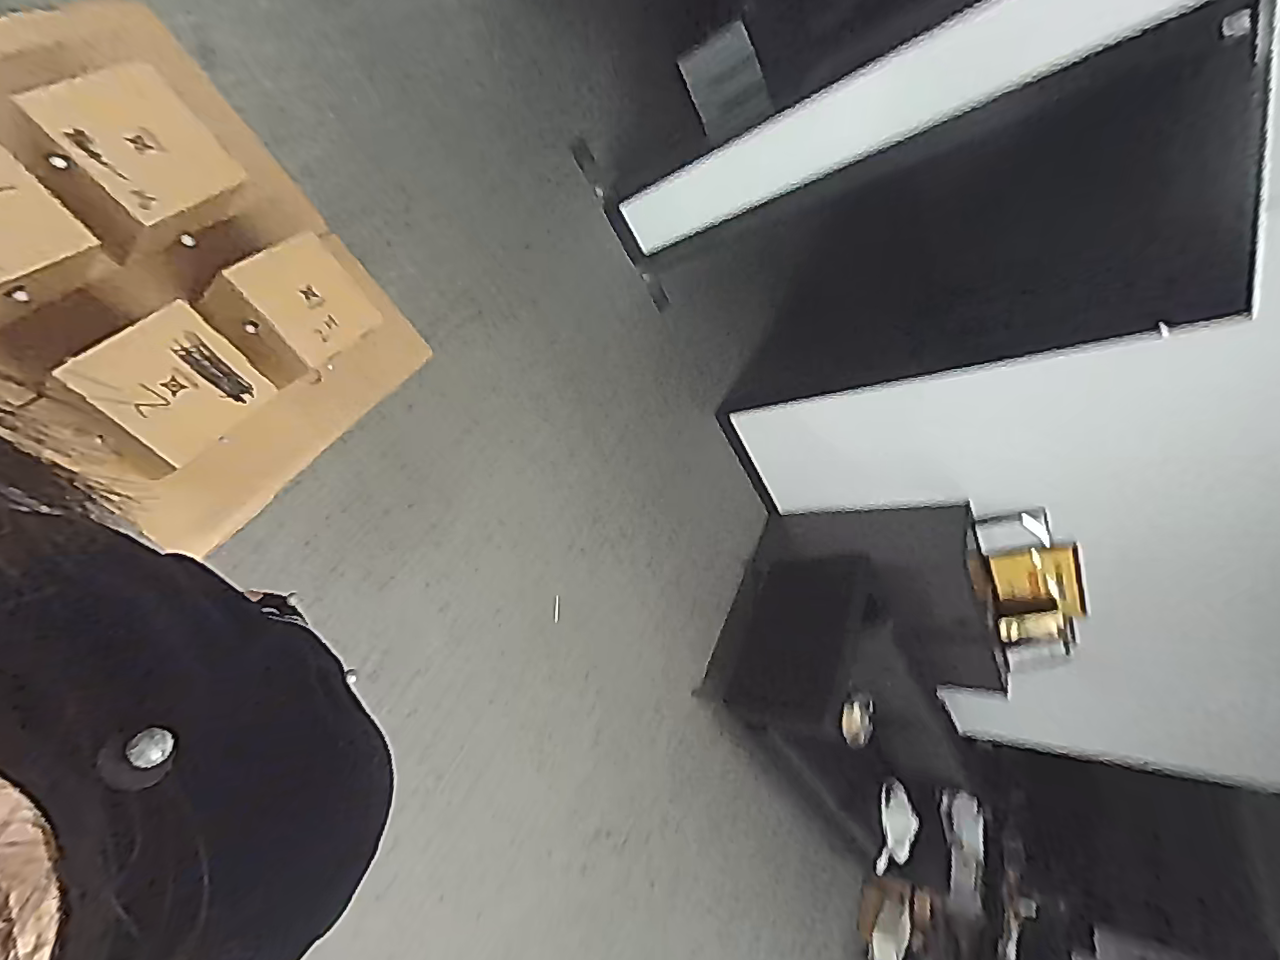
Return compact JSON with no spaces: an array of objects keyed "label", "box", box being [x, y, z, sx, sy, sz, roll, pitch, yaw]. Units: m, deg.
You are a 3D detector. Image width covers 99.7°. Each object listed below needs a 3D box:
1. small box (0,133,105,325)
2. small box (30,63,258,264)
[{"label":"small box","box":[-0.808,-0.295,0.646,0.168,0.176,0.179,56,46,-28]},{"label":"small box","box":[-0.712,-0.447,0.778,0.168,0.176,0.179,53,47,-29]}]
